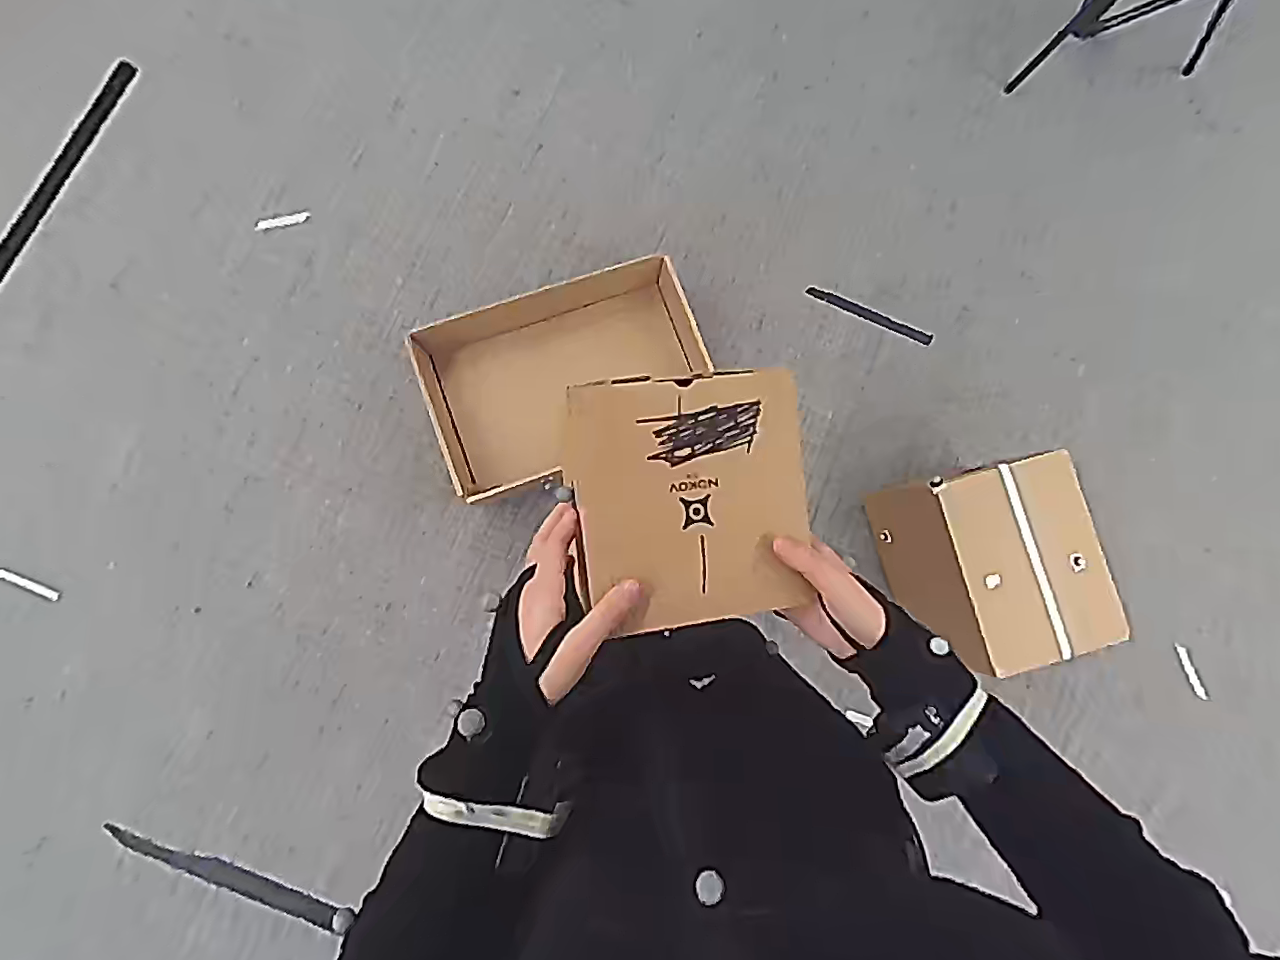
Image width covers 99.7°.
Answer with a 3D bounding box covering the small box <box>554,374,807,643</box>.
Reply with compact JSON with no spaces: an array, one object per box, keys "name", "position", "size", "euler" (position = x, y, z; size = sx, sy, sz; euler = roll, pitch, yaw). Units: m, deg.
[{"name":"small box","position":[0.020,0.017,0.461],"size":[0.168,0.176,0.179],"euler":[-7,92,-11]}]
